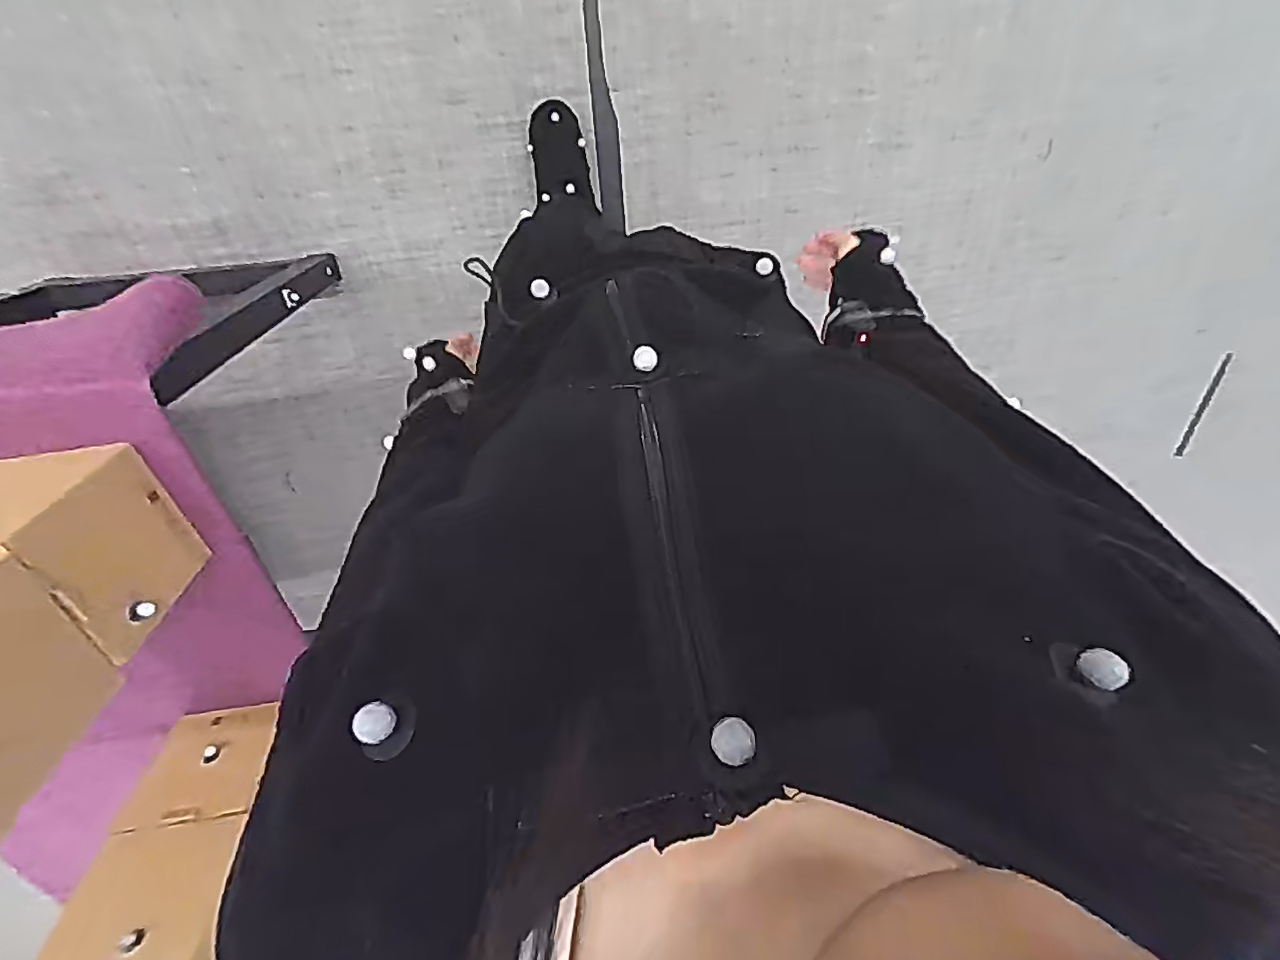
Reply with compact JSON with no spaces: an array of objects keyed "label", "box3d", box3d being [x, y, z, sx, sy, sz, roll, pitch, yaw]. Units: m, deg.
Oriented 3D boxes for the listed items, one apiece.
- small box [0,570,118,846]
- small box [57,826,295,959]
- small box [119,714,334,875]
[{"label":"small box","box3d":[-0.581,0.189,0.420,0.168,0.176,0.179,-5,124,-6]},{"label":"small box","box3d":[-0.556,0.553,0.661,0.179,0.176,0.168,-6,124,-6]},{"label":"small box","box3d":[-0.587,0.467,0.799,0.168,0.176,0.179,-7,123,-6]}]
